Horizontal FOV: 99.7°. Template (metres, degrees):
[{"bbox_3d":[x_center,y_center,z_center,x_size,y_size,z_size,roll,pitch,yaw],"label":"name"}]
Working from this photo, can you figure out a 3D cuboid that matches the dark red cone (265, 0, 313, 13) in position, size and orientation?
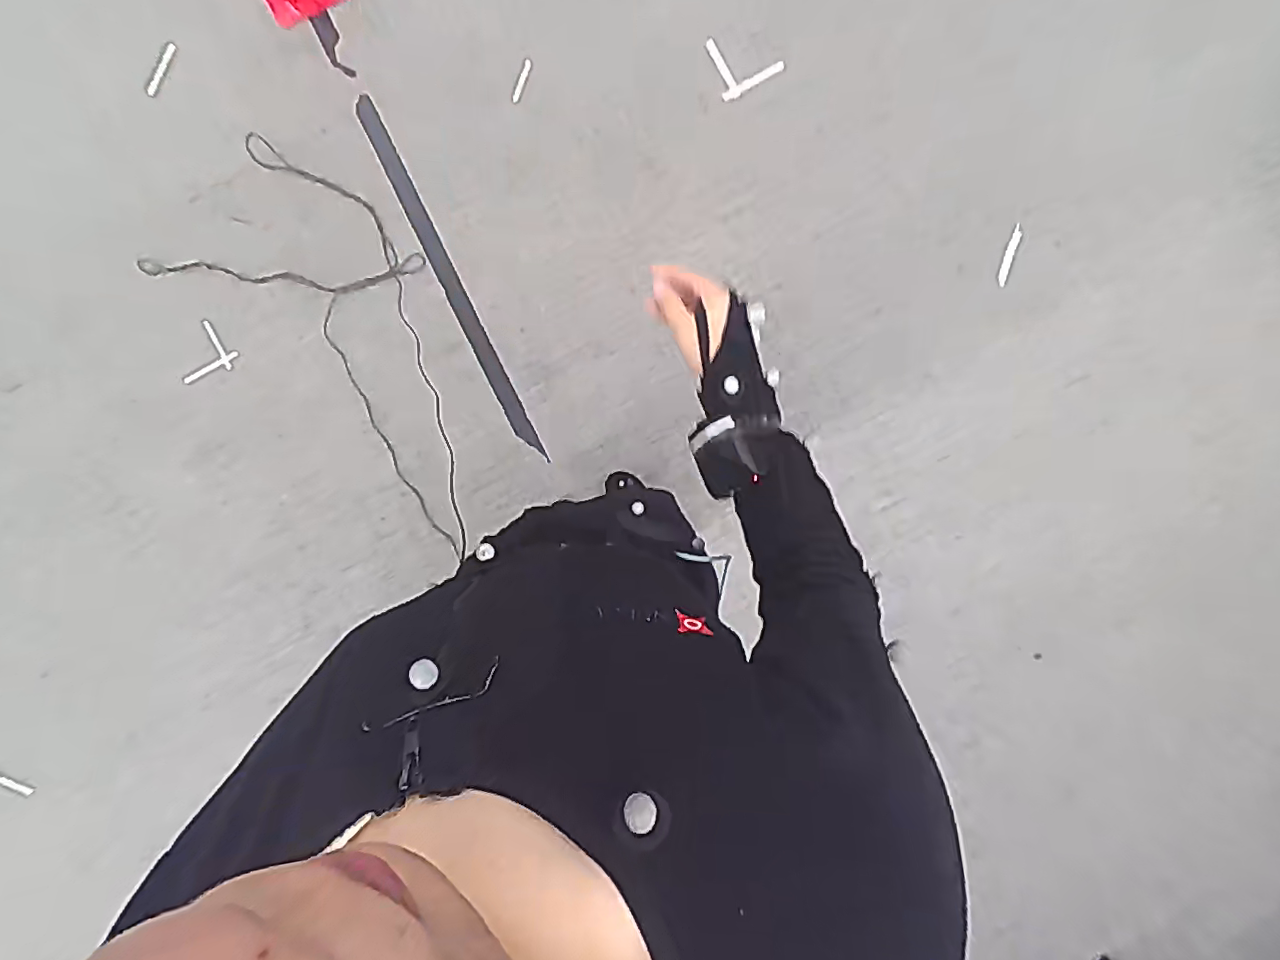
[{"bbox_3d":[-0.849,-1.253,1.149,0.201,0.394,0.202,-27,92,1],"label":"dark red cone"}]
